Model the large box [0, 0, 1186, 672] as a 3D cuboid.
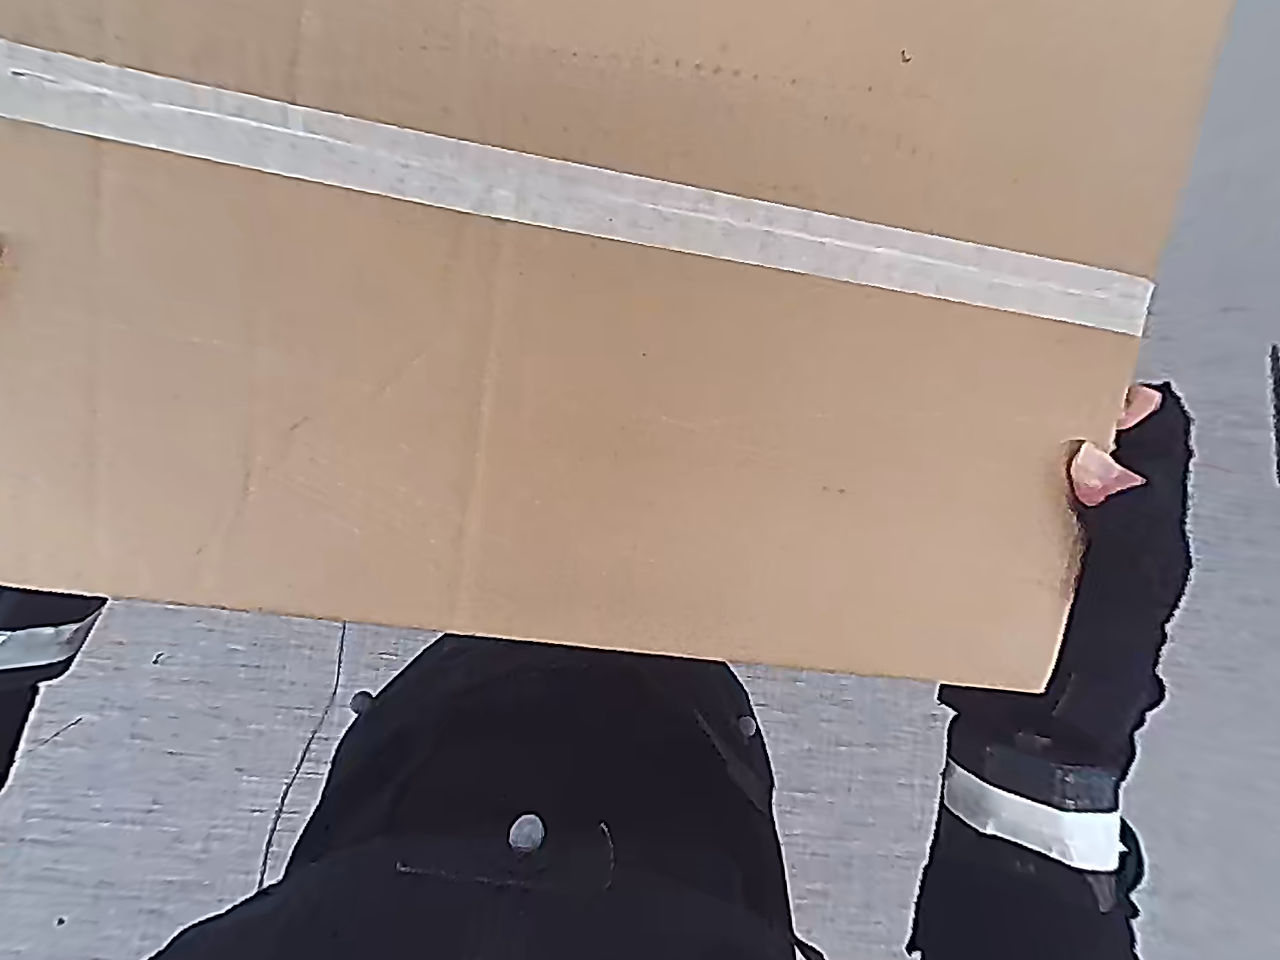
[{"bbox_3d":[-0.025,-0.111,0.341,0.408,0.320,0.320,8,97,-7],"label":"large box"}]
